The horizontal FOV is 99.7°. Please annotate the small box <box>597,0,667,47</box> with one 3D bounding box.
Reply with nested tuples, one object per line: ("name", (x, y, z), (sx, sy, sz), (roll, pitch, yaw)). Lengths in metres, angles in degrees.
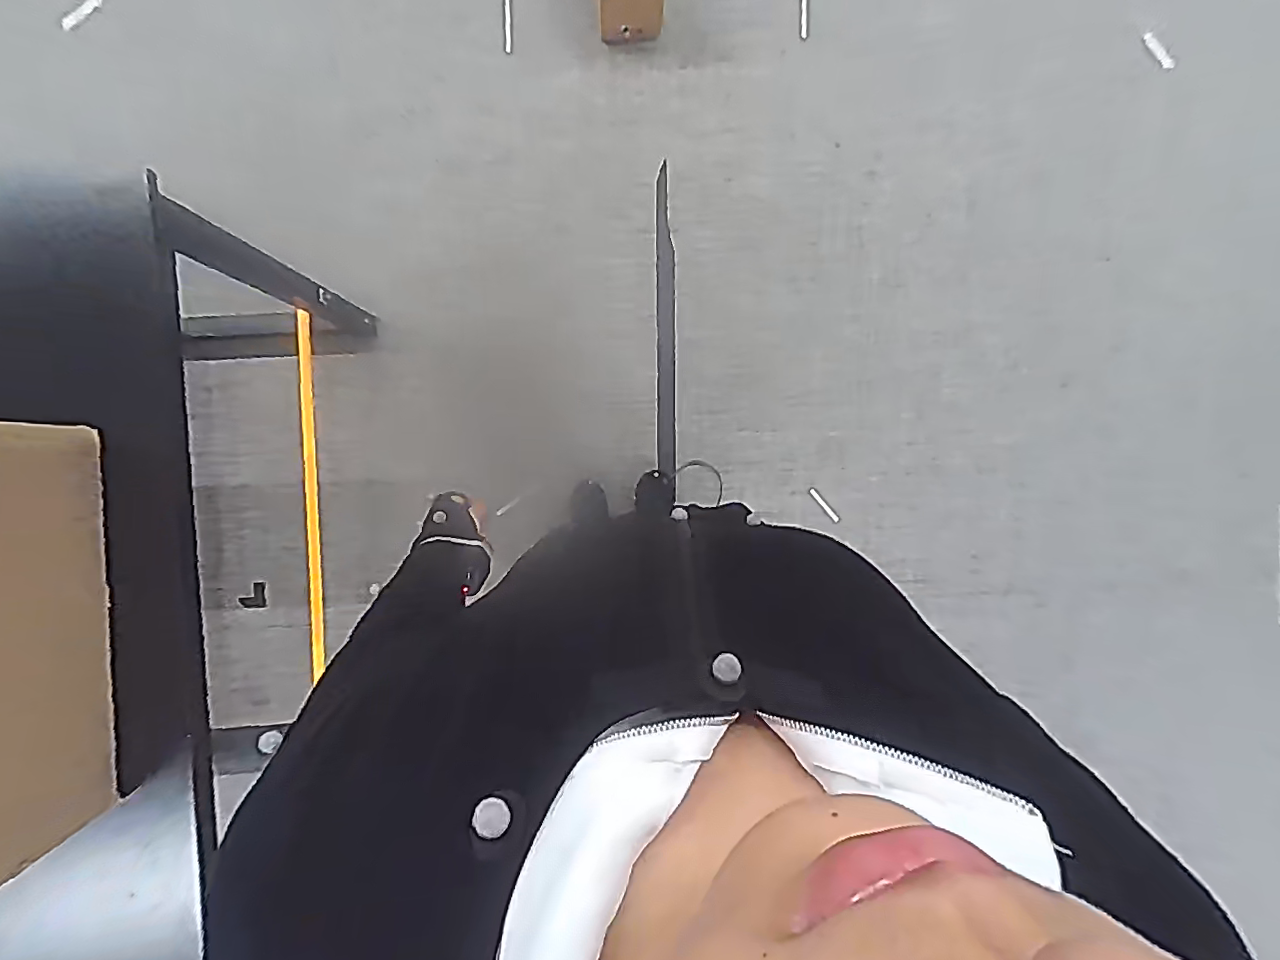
("small box", (-0.026, -1.256, 1.371), (0.168, 0.176, 0.179), (-8, 94, -1))
